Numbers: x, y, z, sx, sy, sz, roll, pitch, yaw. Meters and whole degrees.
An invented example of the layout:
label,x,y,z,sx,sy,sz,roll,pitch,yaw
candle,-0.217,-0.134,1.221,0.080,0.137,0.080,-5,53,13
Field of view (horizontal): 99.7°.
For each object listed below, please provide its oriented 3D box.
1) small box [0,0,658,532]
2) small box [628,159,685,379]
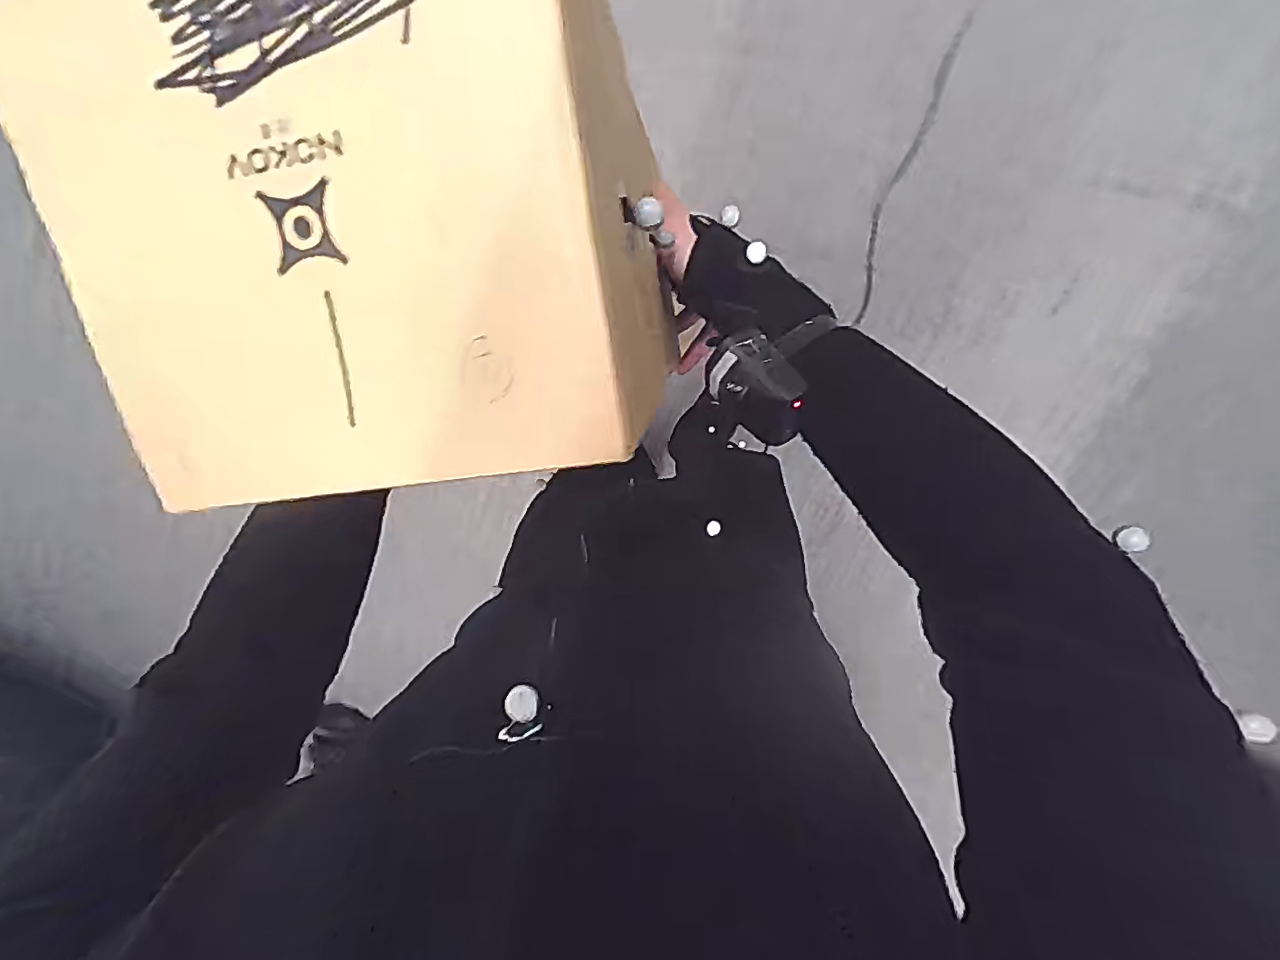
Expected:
label,x,y,z,sx,sy,sz,roll,pitch,yaw
small box,-0.090,-0.096,0.227,0.168,0.176,0.179,-7,106,10
small box,-0.050,-0.187,0.539,0.168,0.176,0.179,-7,105,10
